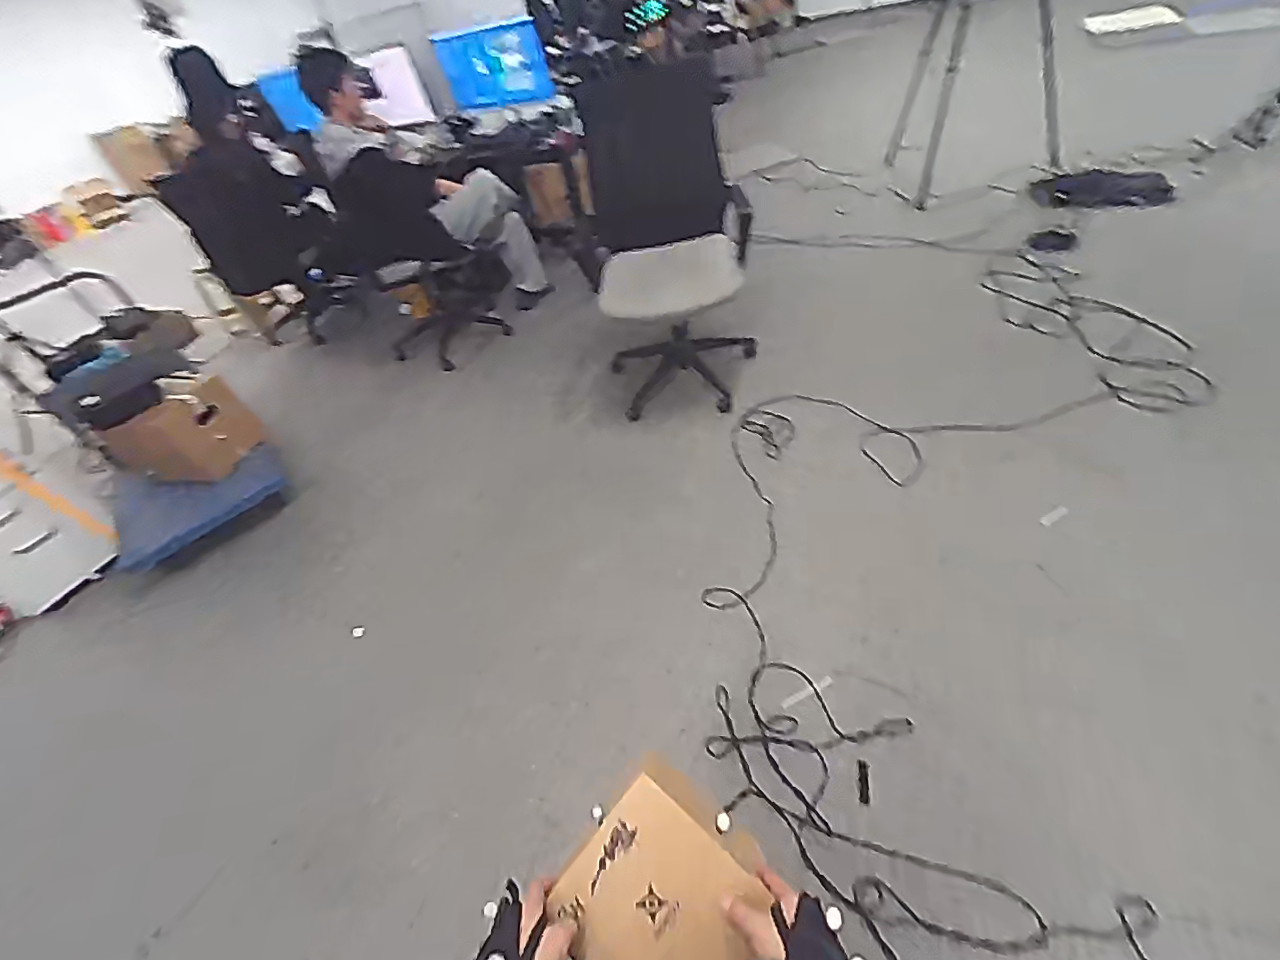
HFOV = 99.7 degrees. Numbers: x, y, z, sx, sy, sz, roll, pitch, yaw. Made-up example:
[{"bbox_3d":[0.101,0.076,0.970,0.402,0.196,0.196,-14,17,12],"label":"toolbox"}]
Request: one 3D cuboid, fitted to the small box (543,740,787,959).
[{"bbox_3d":[0.028,0.414,0.588,0.179,0.176,0.168,39,79,14],"label":"small box"}]
